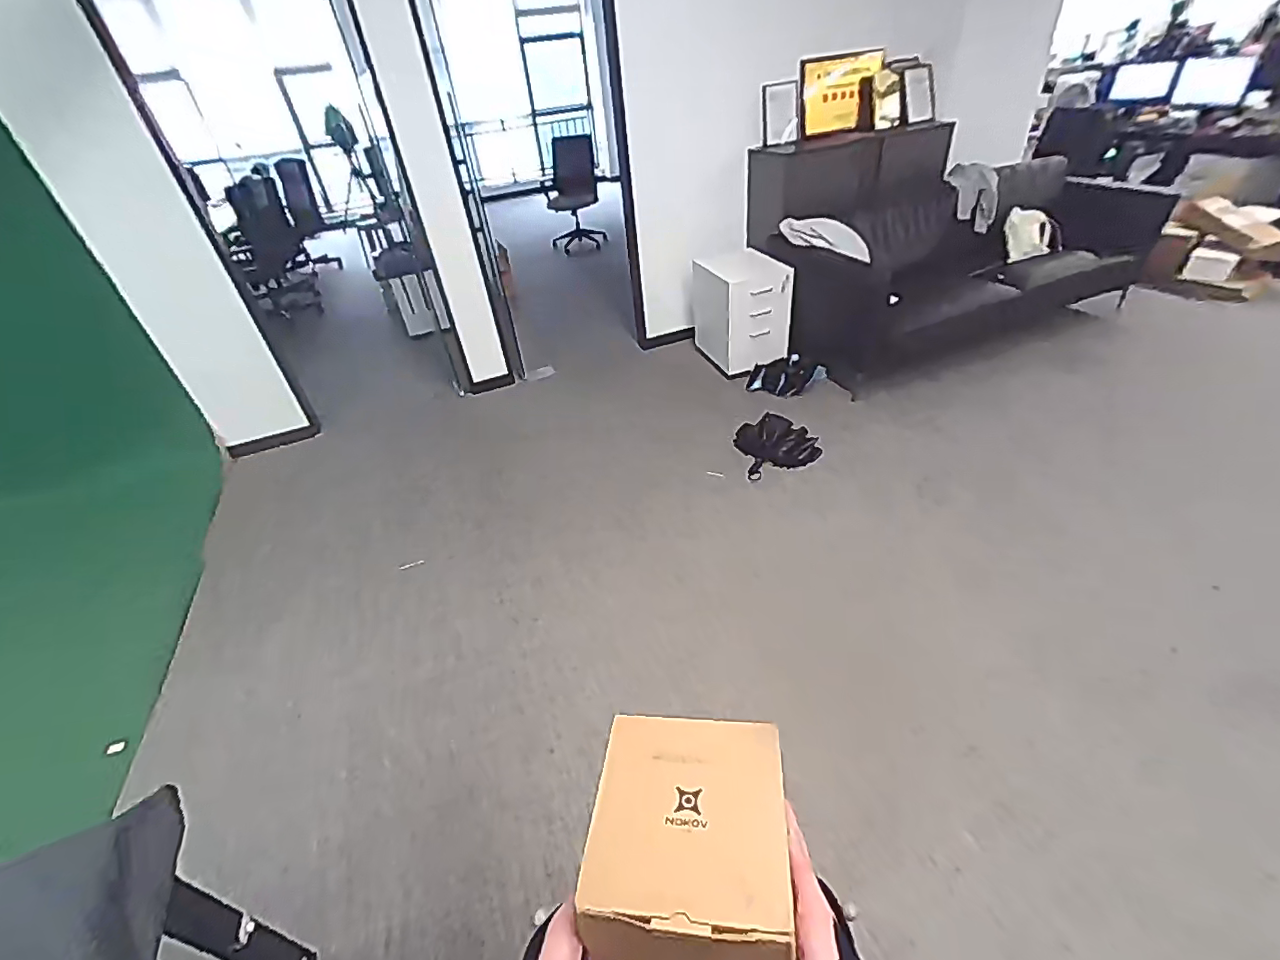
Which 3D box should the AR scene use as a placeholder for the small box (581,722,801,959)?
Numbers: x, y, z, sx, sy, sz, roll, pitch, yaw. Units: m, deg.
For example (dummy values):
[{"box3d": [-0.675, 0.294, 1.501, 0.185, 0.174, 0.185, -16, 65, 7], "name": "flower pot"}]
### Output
[{"box3d": [0.055, 0.358, 0.499, 0.168, 0.176, 0.179, 0, 26, 10], "name": "small box"}]
